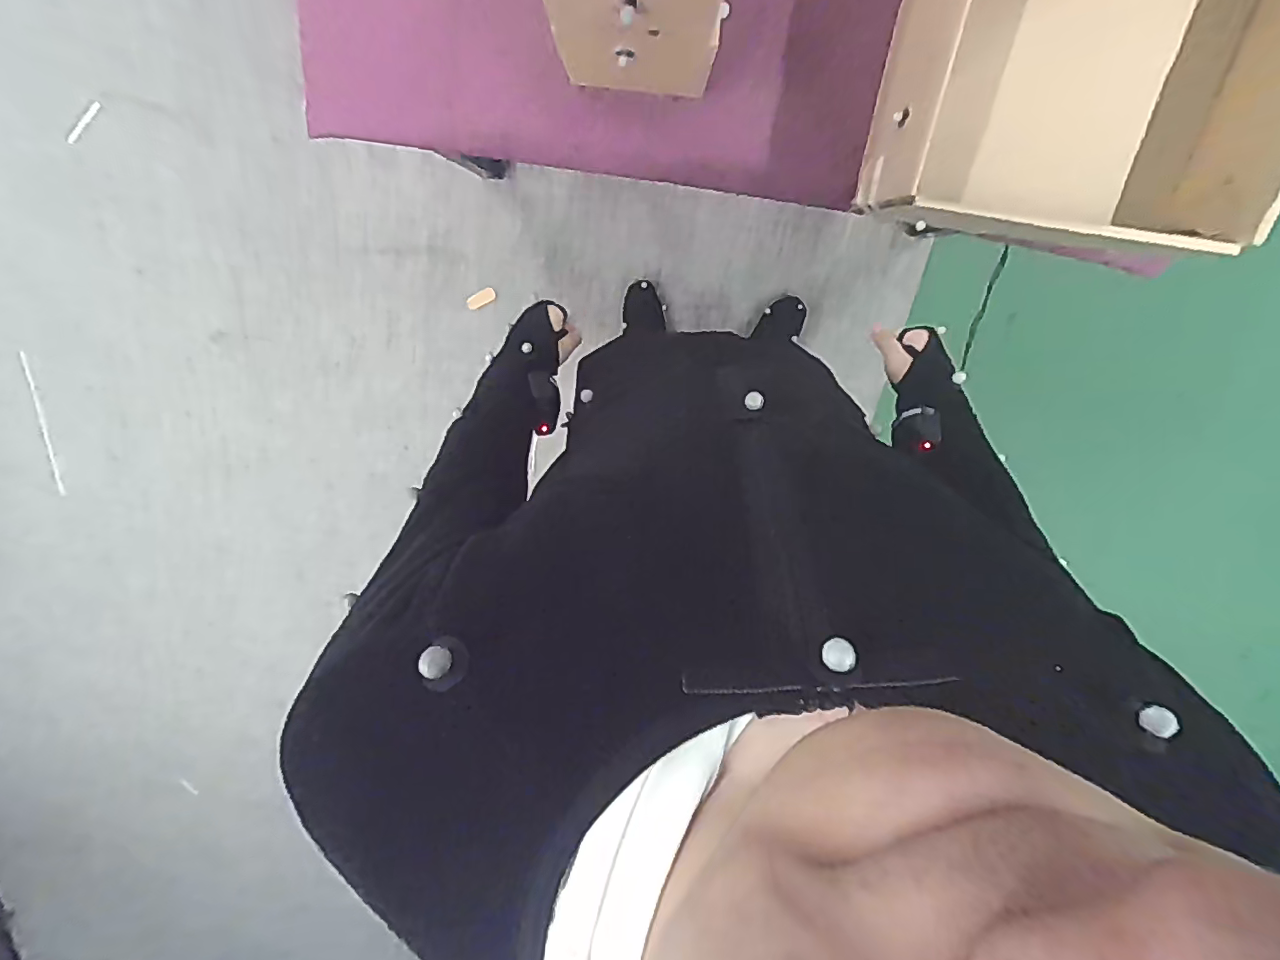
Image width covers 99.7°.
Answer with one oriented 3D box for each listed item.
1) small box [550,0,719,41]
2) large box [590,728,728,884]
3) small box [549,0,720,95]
[{"bbox_3d":[-0.001,-0.508,0.453,0.168,0.176,0.179,6,111,-2],"label":"small box"},{"bbox_3d":[0.066,1.195,1.999,0.408,0.320,0.320,-22,110,8],"label":"large box"},{"bbox_3d":[0.001,-0.560,0.608,0.179,0.176,0.168,5,110,-1],"label":"small box"}]
